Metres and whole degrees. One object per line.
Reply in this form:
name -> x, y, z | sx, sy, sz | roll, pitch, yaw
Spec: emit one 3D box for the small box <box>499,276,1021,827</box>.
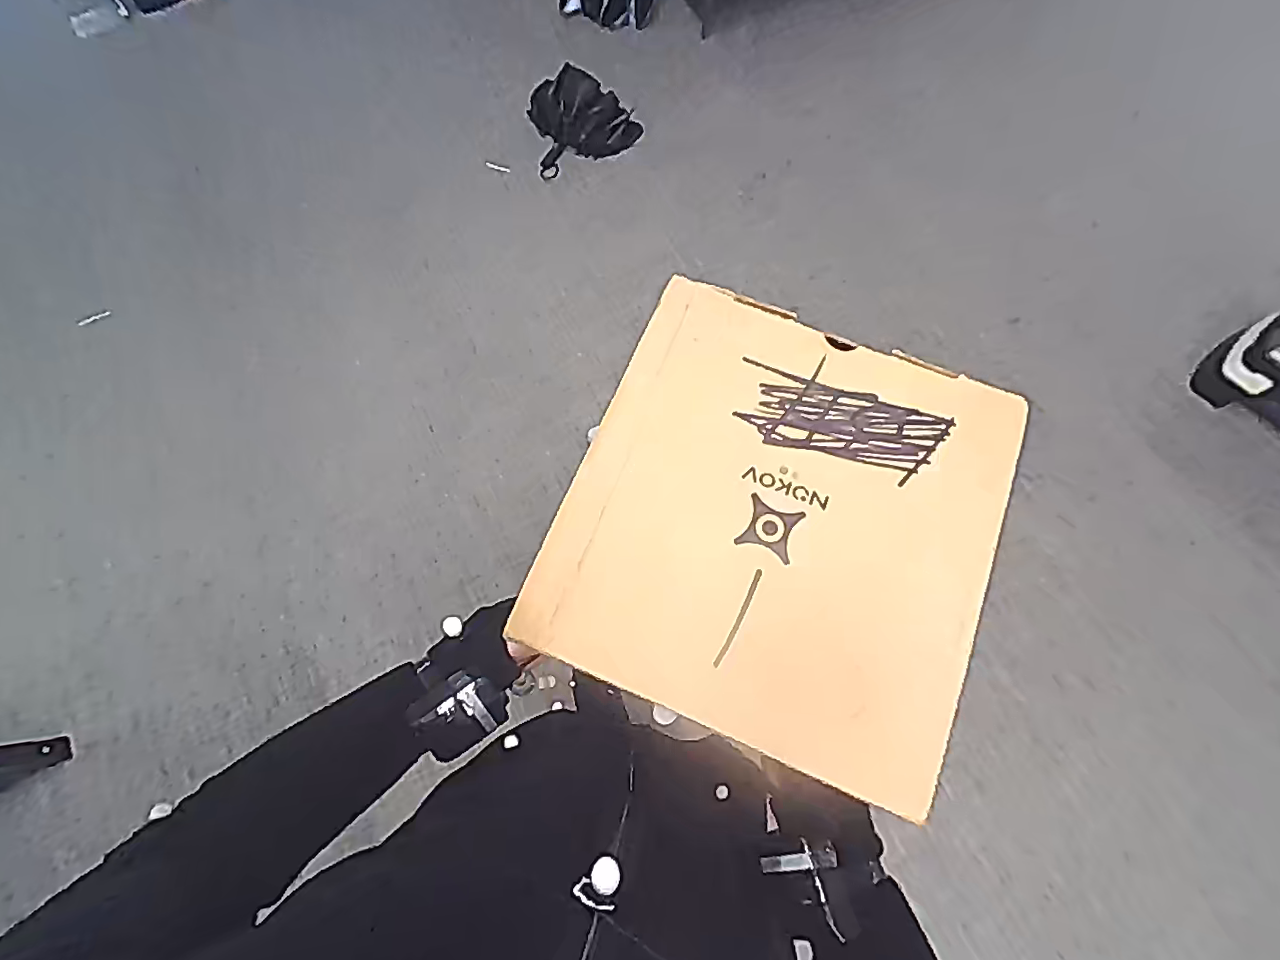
small box -> 0.053, 0.034, 0.291 | 0.168, 0.176, 0.179 | 22, 76, 8
